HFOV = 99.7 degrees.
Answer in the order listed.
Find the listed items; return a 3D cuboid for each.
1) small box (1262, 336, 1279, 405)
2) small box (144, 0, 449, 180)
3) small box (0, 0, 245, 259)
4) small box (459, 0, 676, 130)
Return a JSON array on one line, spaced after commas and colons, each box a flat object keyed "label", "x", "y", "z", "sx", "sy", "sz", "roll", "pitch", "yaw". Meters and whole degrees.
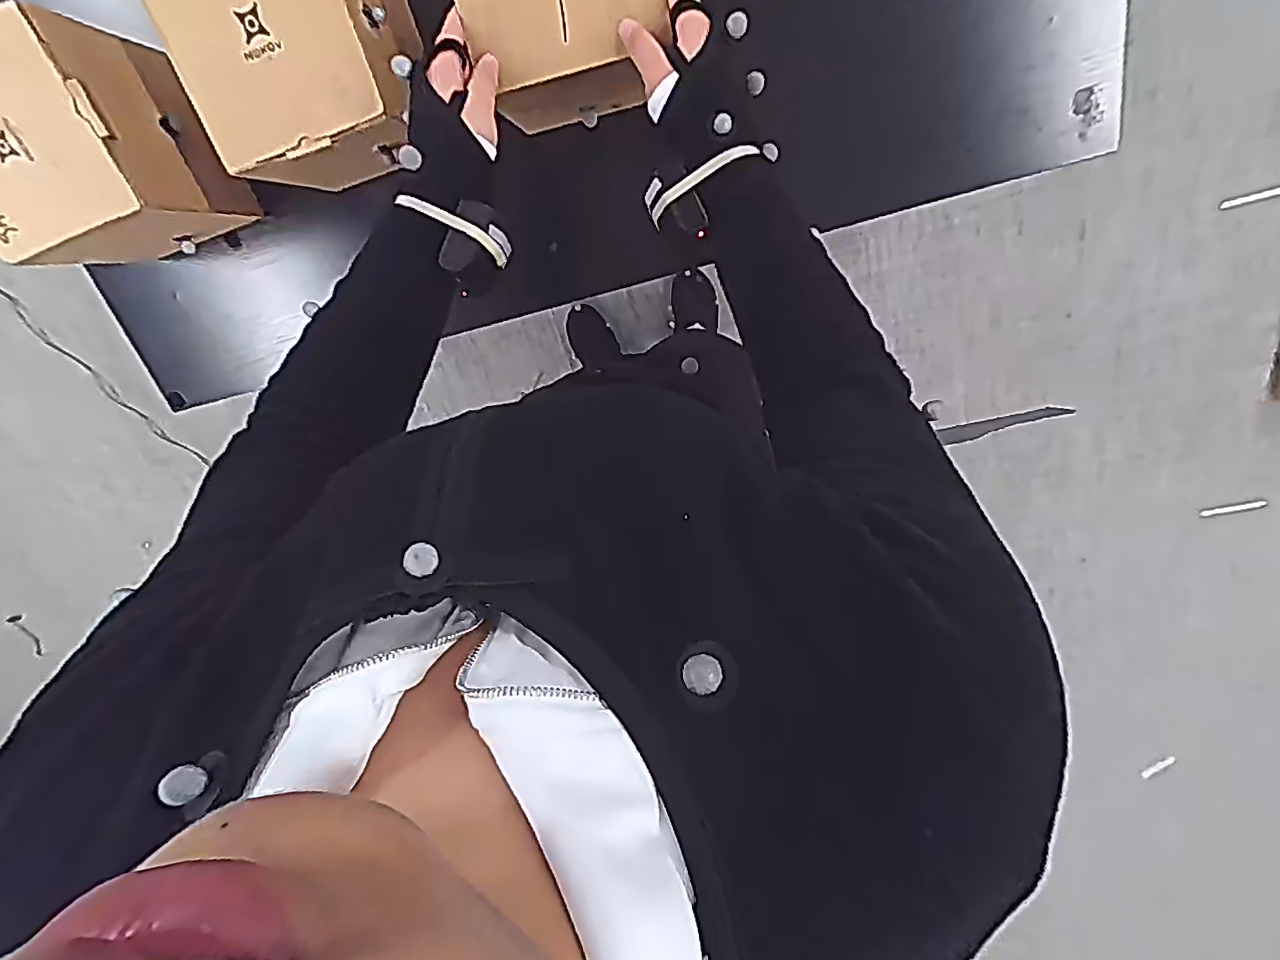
[{"label": "small box", "x": 1.620, "y": -0.257, "z": 1.251, "sx": 0.168, "sy": 0.176, "sz": 0.179, "roll": -12, "pitch": 113, "yaw": 10}, {"label": "small box", "x": -0.311, "y": -0.406, "z": 0.518, "sx": 0.168, "sy": 0.176, "sz": 0.179, "roll": -14, "pitch": 111, "yaw": 8}, {"label": "small box", "x": -0.561, "y": -0.341, "z": 0.560, "sx": 0.179, "sy": 0.176, "sz": 0.168, "roll": -15, "pitch": 112, "yaw": 9}, {"label": "small box", "x": -0.065, "y": -0.442, "z": 0.480, "sx": 0.168, "sy": 0.176, "sz": 0.179, "roll": -10, "pitch": 113, "yaw": 6}]
